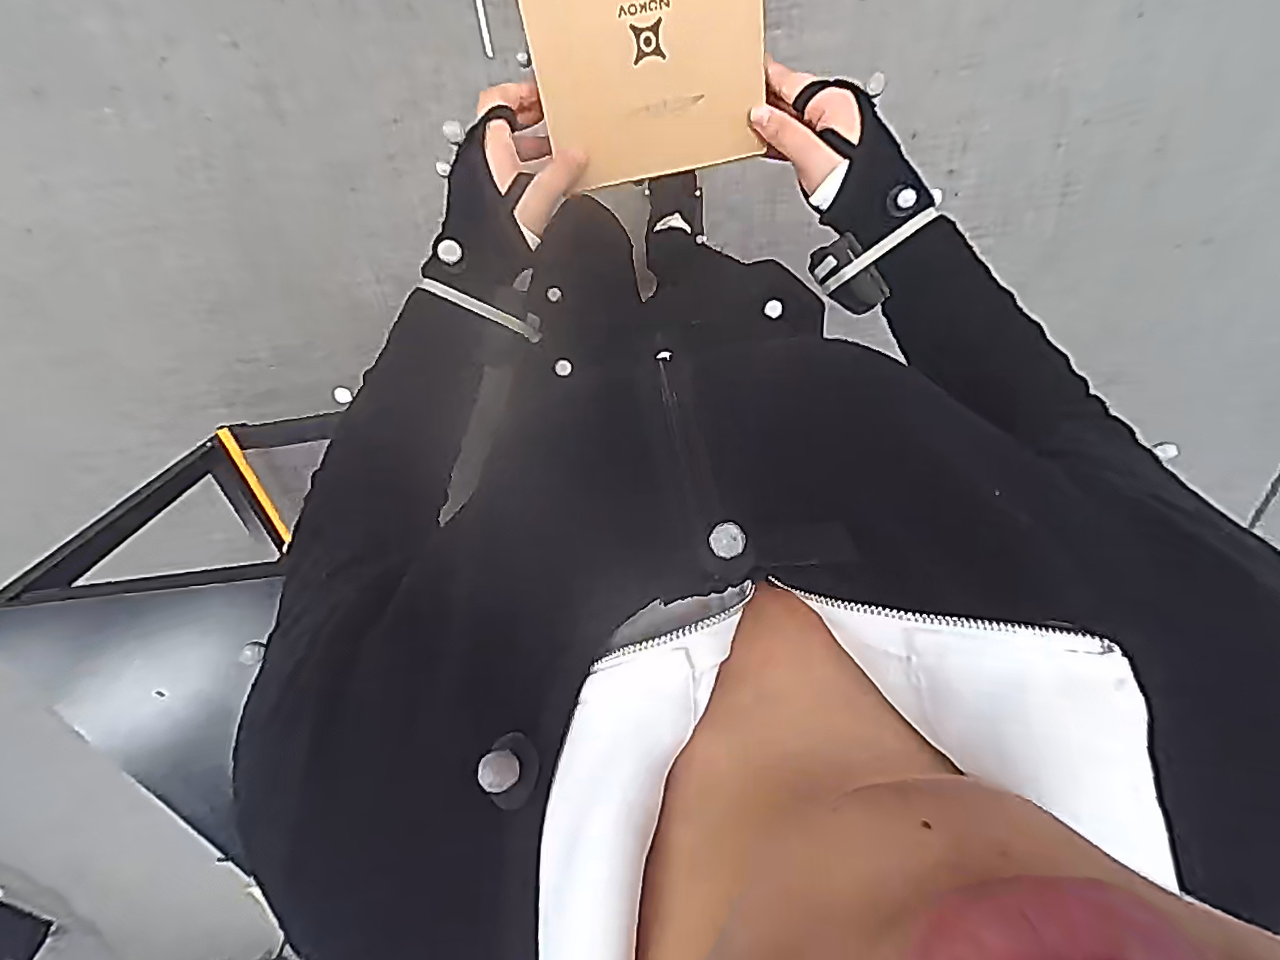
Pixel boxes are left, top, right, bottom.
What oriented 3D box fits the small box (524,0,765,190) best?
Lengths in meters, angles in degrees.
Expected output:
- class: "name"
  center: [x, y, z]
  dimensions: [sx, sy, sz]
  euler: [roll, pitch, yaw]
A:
- class: "small box"
  center: [-0.002, -0.360, 0.449]
  dimensions: [0.168, 0.176, 0.179]
  euler: [-11, 125, 2]
